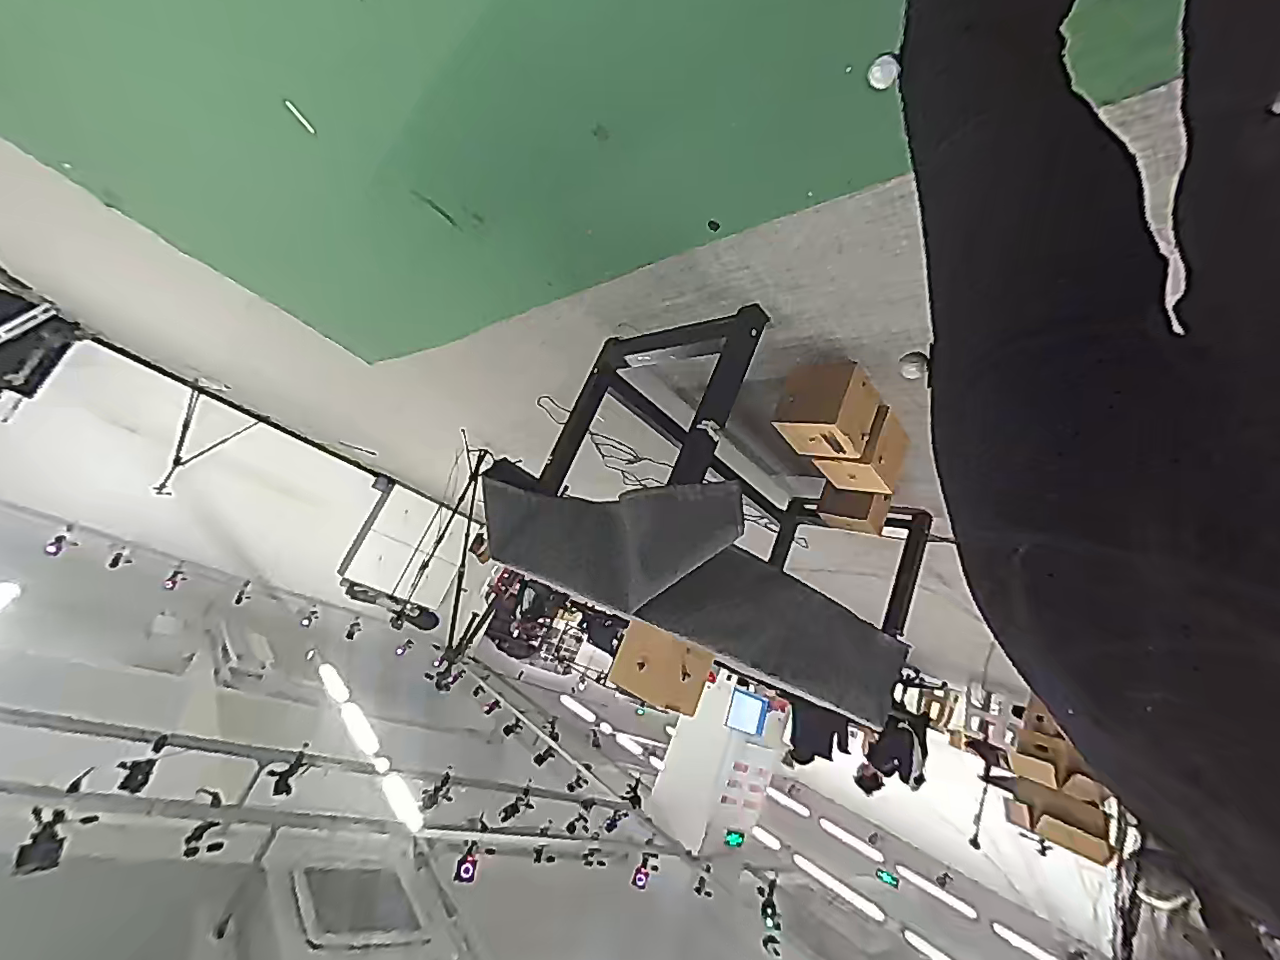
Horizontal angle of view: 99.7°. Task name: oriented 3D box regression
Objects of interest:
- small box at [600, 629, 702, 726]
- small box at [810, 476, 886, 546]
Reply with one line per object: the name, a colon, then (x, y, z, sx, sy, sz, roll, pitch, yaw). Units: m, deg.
small box: (0.035, 0.490, 1.358, 0.168, 0.176, 0.179, 34, 161, -35)
small box: (0.706, 0.100, 1.827, 0.179, 0.176, 0.168, 10, 160, 42)
